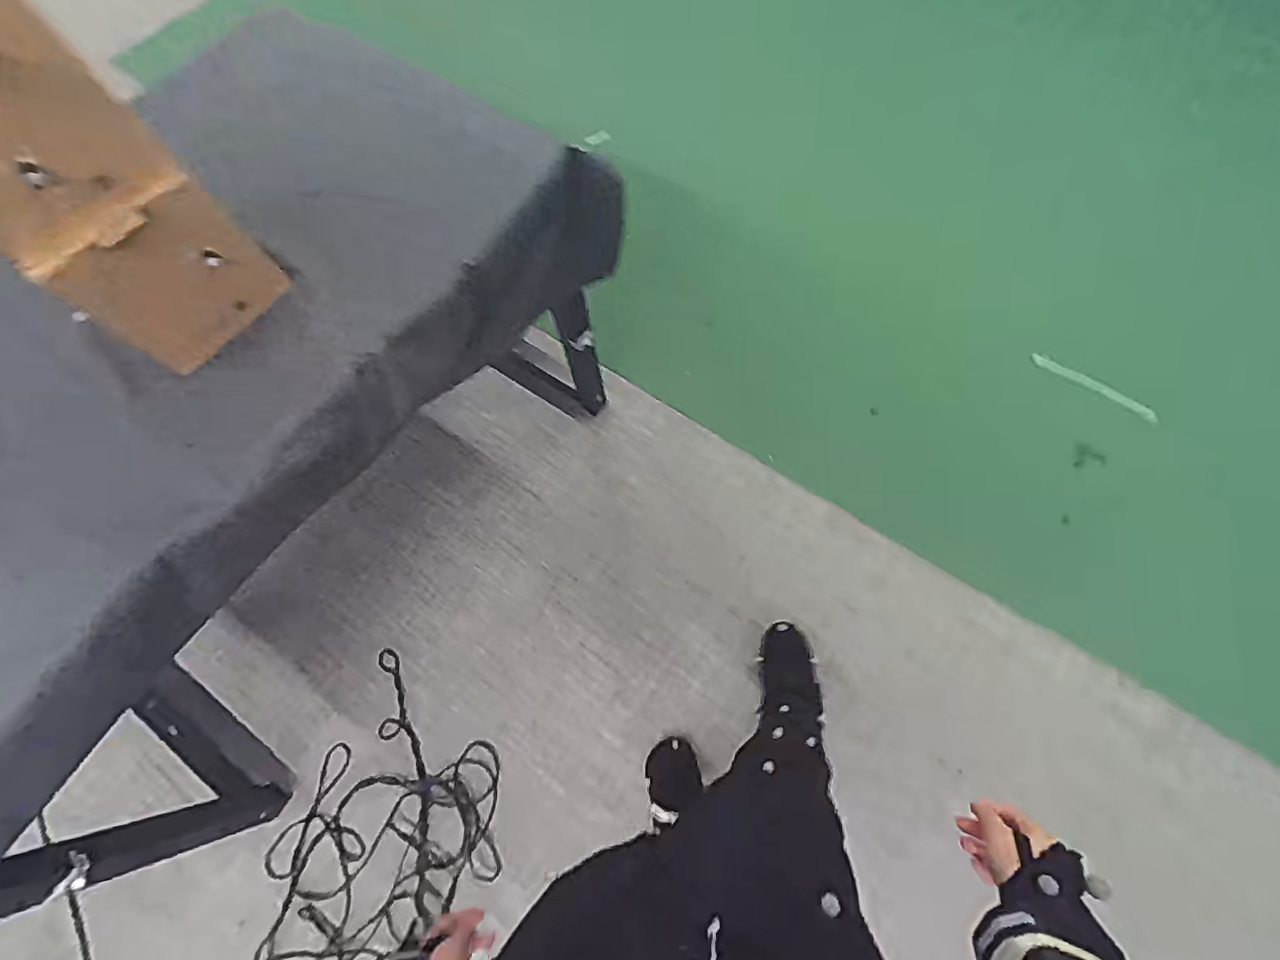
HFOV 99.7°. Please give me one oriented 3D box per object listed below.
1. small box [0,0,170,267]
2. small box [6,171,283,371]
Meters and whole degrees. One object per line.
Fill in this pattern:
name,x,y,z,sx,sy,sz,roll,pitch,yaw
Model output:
small box,-0.576,-0.320,0.459,0.179,0.176,0.168,36,74,14
small box,-0.558,-0.249,0.606,0.179,0.176,0.168,34,73,15
